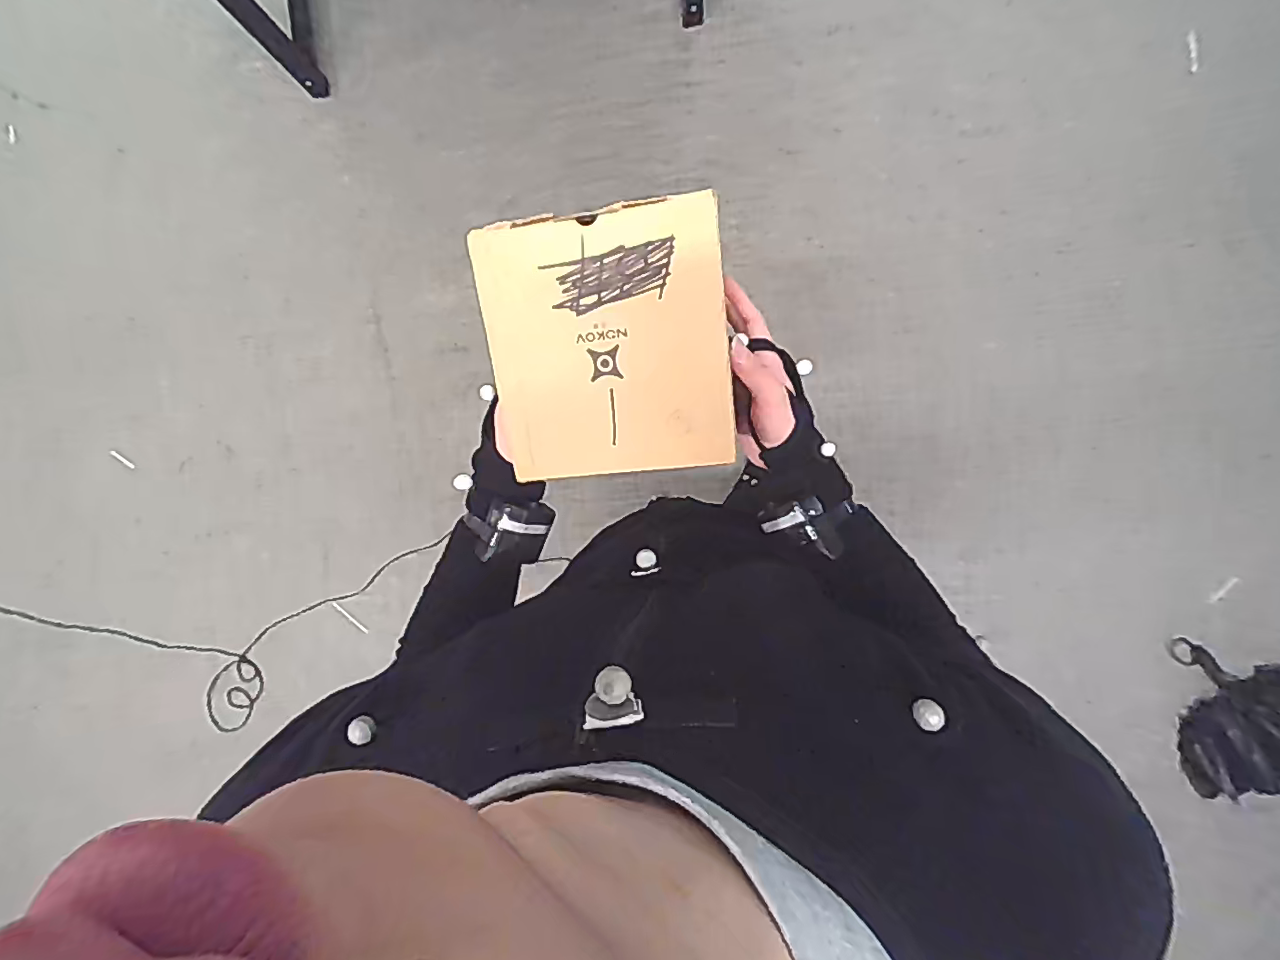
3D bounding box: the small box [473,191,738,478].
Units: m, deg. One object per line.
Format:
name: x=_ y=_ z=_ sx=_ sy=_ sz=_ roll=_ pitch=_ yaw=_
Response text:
small box: x=-0.011 y=-0.112 z=0.444 sx=0.168 sy=0.176 sz=0.179 roll=-5 pitch=106 yaw=11
